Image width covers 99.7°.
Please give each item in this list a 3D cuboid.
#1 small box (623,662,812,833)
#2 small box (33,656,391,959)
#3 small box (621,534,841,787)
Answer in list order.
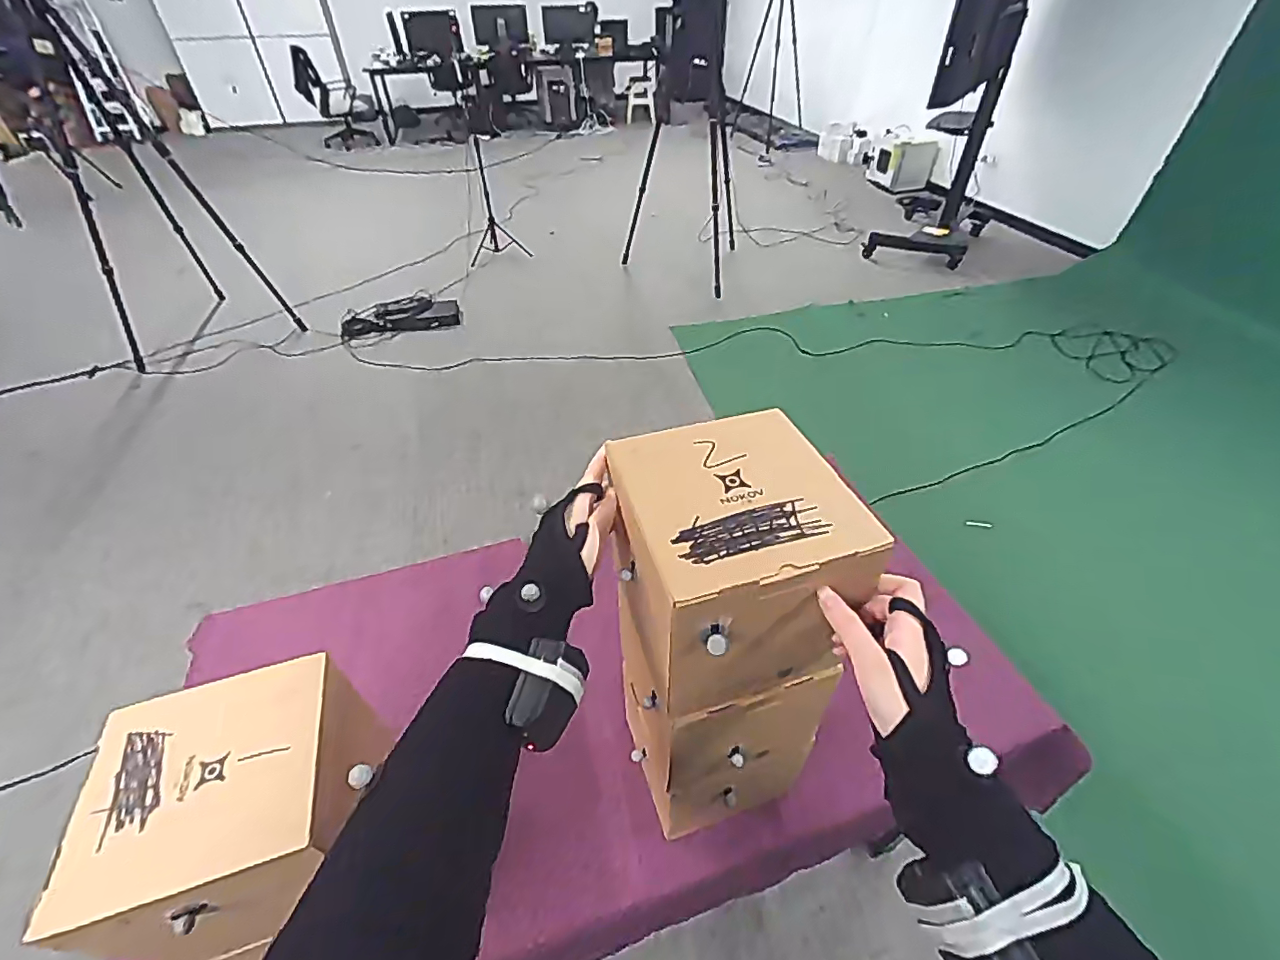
[{"bbox_3d":[0.090,0.314,0.688,0.179,0.176,0.168,-15,45,-13],"label":"small box"},{"bbox_3d":[-0.344,0.293,0.485,0.179,0.176,0.168,-13,44,-13],"label":"small box"},{"bbox_3d":[0.080,0.191,0.581,0.168,0.176,0.179,-13,44,-12],"label":"small box"}]
